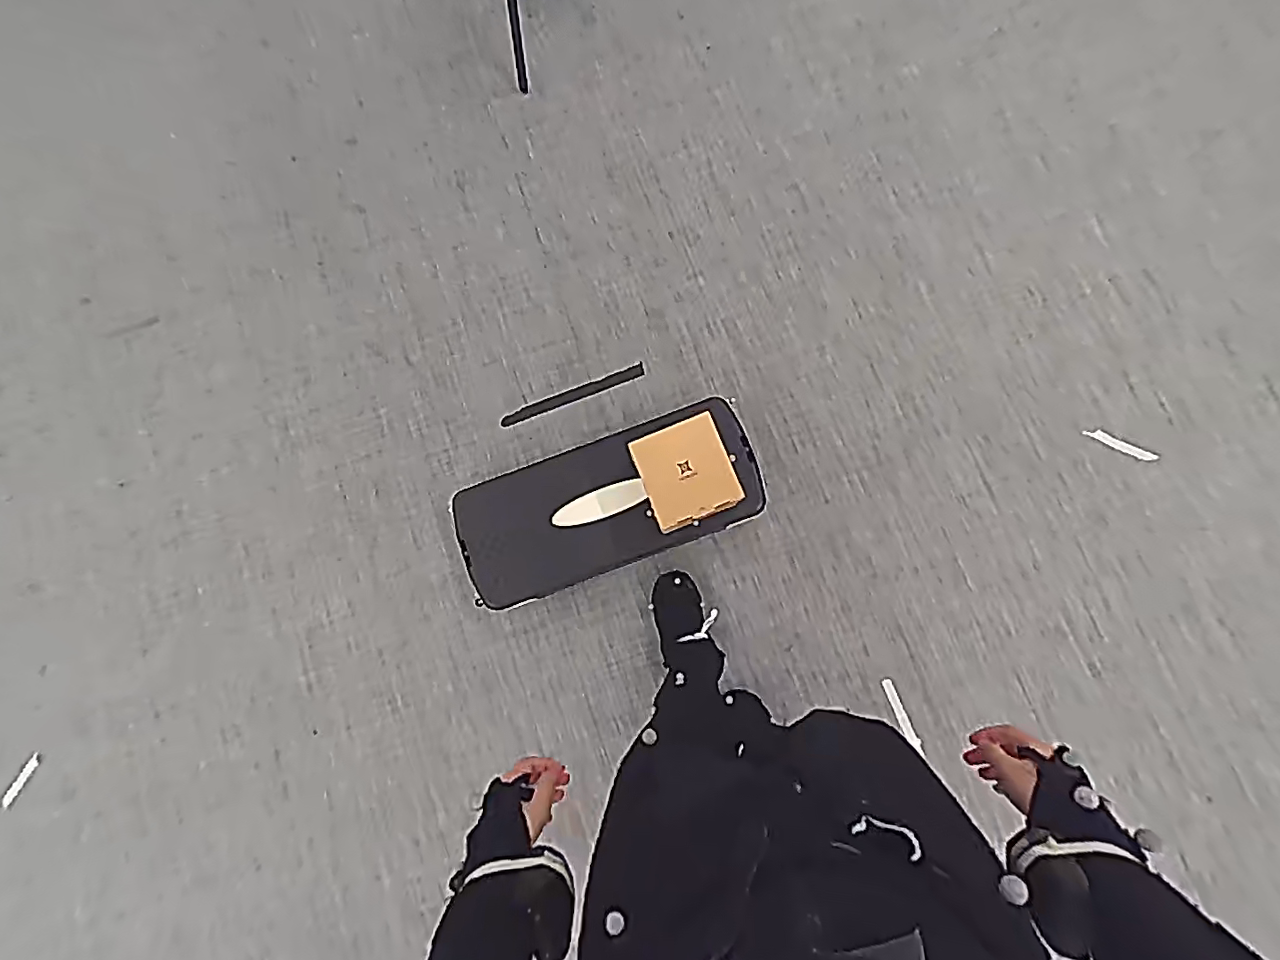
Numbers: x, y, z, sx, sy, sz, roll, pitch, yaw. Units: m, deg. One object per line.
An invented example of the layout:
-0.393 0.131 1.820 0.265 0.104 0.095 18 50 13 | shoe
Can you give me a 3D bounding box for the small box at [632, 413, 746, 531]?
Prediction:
0.091 -0.007 1.073 0.168 0.176 0.179 -22 83 0 | small box
